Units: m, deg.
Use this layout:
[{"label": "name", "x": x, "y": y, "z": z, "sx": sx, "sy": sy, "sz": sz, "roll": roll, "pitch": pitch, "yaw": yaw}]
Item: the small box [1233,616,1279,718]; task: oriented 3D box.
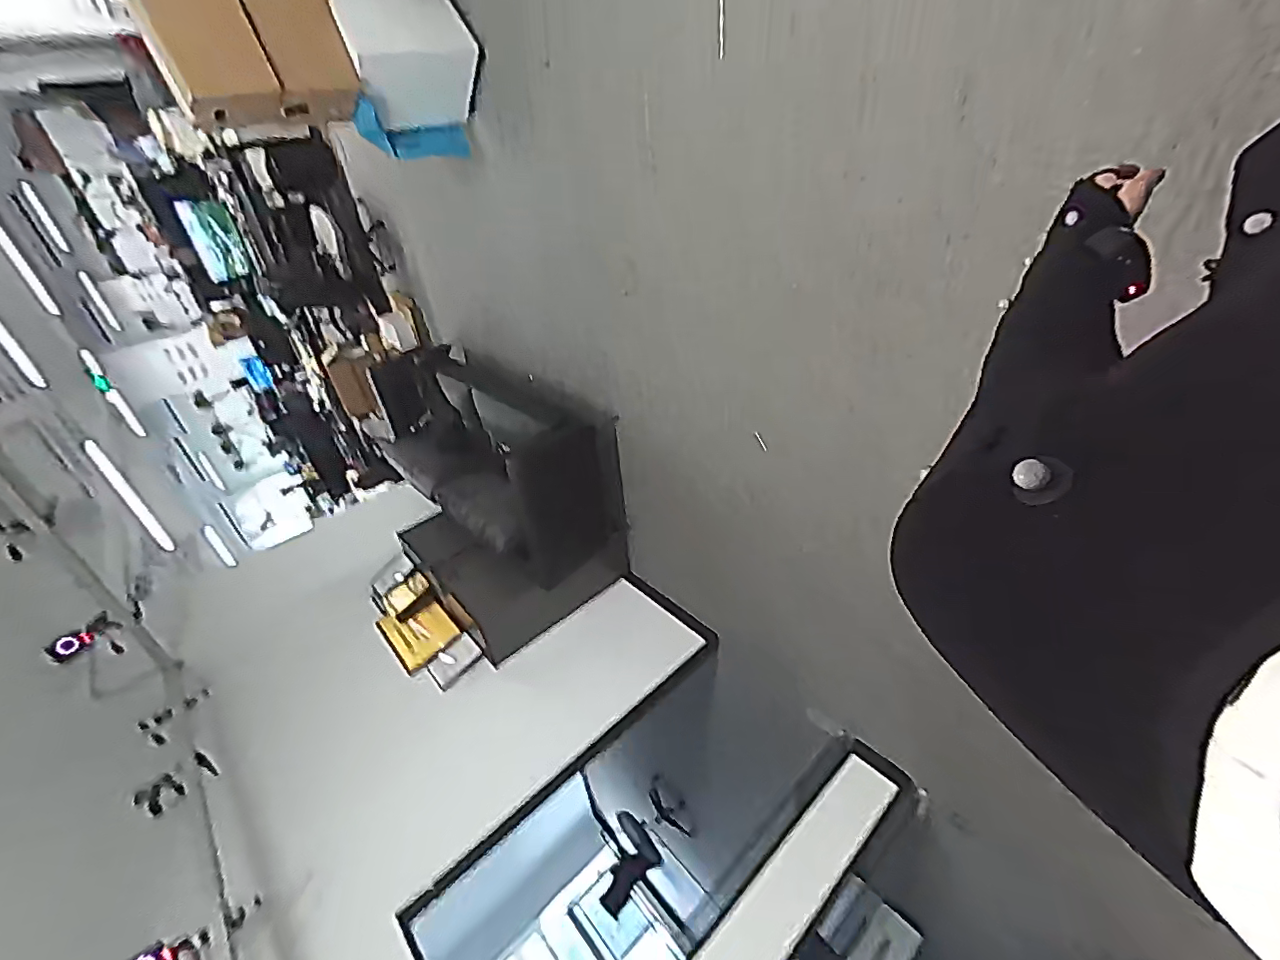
[{"label": "small box", "x": 1.345, "y": 0.382, "z": 1.067, "sx": 0.179, "sy": 0.176, "sz": 0.168, "roll": 30, "pitch": 138, "yaw": 38}]
